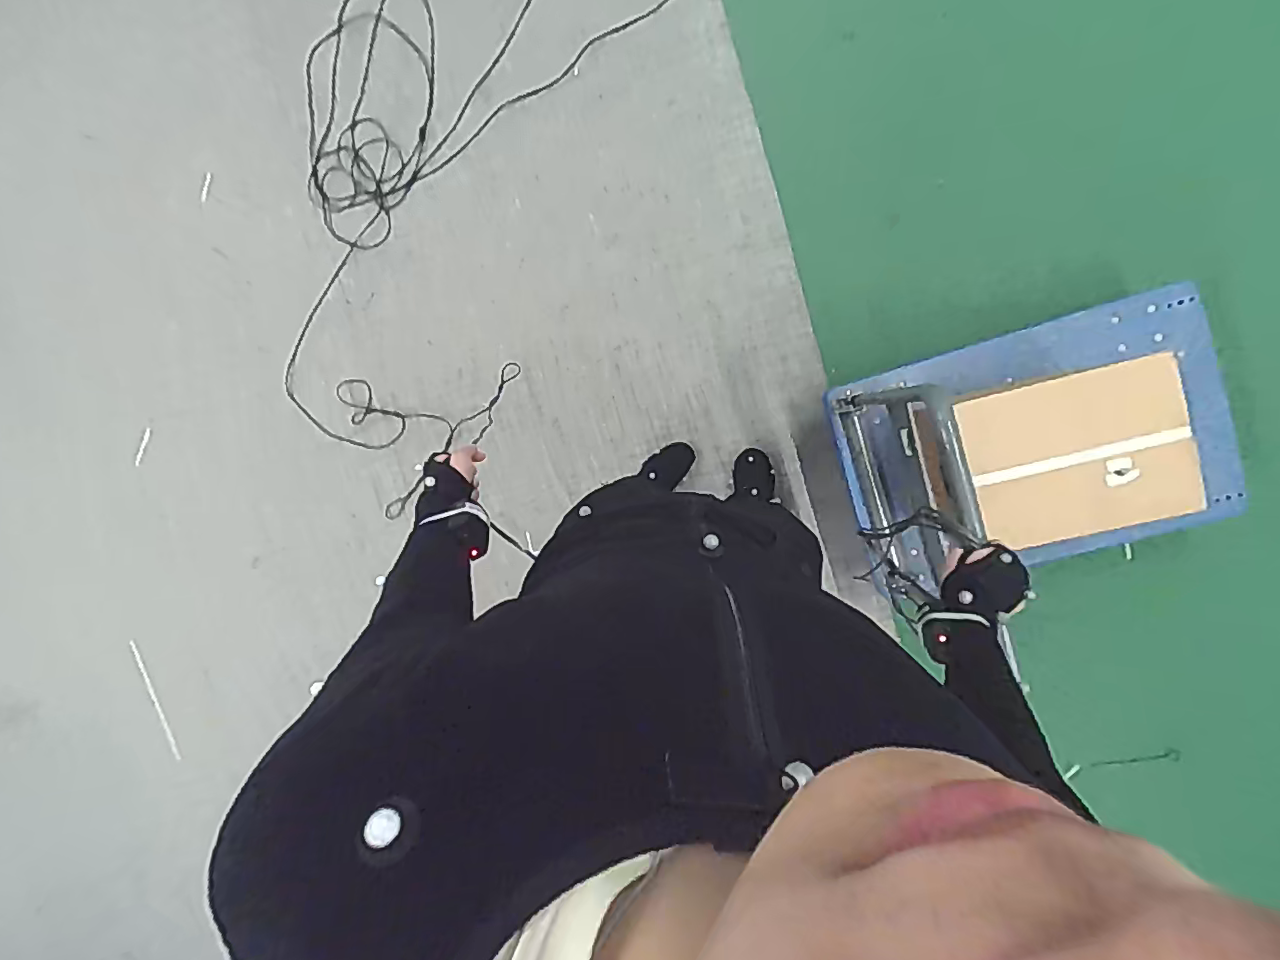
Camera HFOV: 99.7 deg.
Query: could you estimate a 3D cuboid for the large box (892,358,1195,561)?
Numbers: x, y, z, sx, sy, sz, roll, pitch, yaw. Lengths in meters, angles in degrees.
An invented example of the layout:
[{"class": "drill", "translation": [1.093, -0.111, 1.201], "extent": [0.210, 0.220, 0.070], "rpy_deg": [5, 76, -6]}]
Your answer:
[{"class": "large box", "translation": [0.842, -0.042, 1.190], "extent": [0.408, 0.320, 0.320], "rpy_deg": [-14, 93, 6]}]
